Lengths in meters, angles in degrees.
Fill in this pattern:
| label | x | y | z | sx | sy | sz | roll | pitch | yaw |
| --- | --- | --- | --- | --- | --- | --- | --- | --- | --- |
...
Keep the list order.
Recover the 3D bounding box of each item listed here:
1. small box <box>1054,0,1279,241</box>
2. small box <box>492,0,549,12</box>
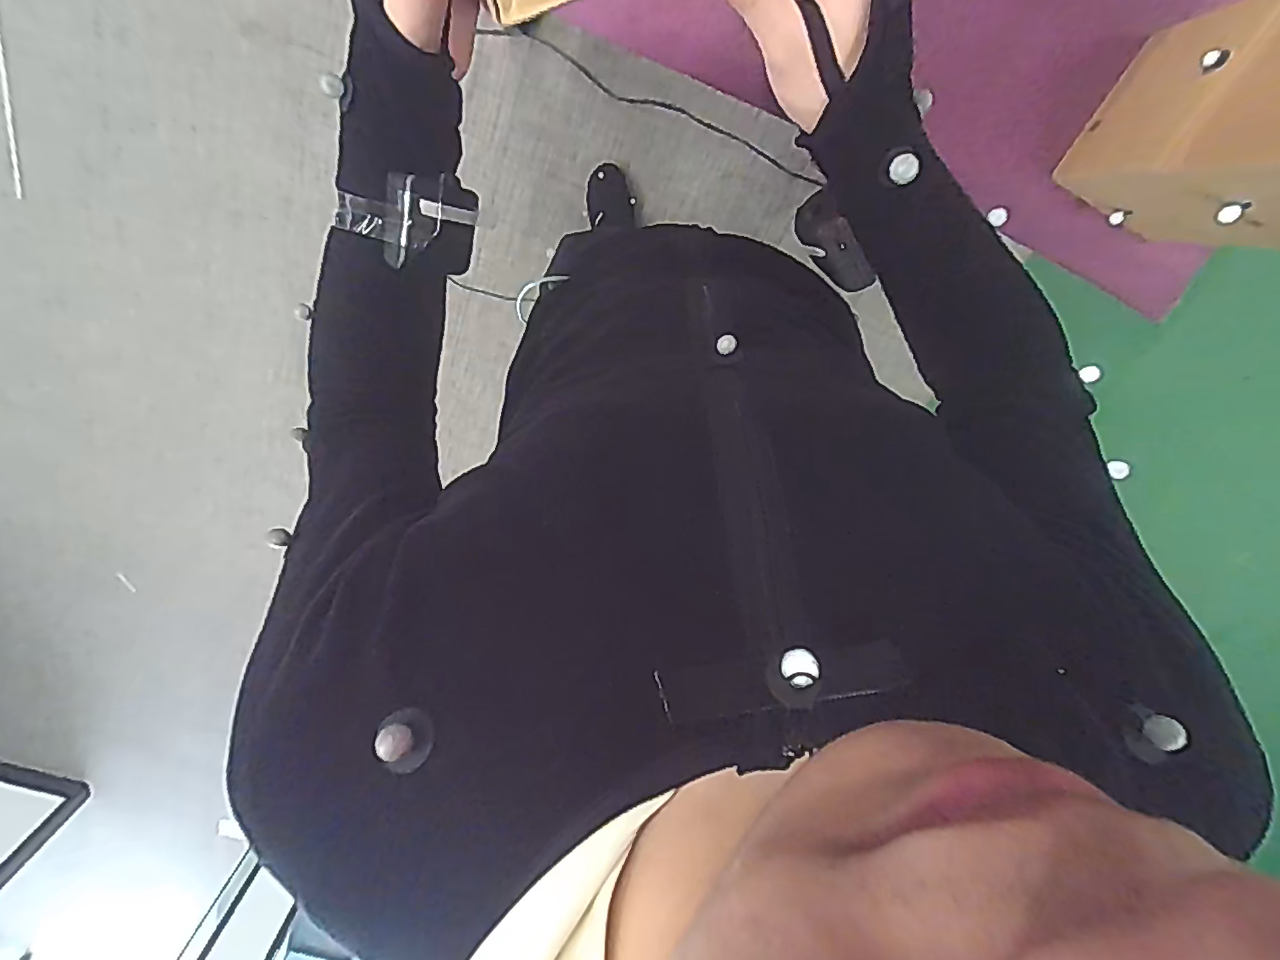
| label | x | y | z | sx | sy | sz | roll | pitch | yaw |
| --- | --- | --- | --- | --- | --- | --- | --- | --- | --- |
| small box | 0.629 | -0.389 | 0.597 | 0.179 | 0.176 | 0.168 | 24 | 115 | -9 |
| small box | -0.032 | -0.361 | 0.260 | 0.168 | 0.179 | 0.176 | -22 | 137 | 0 |
